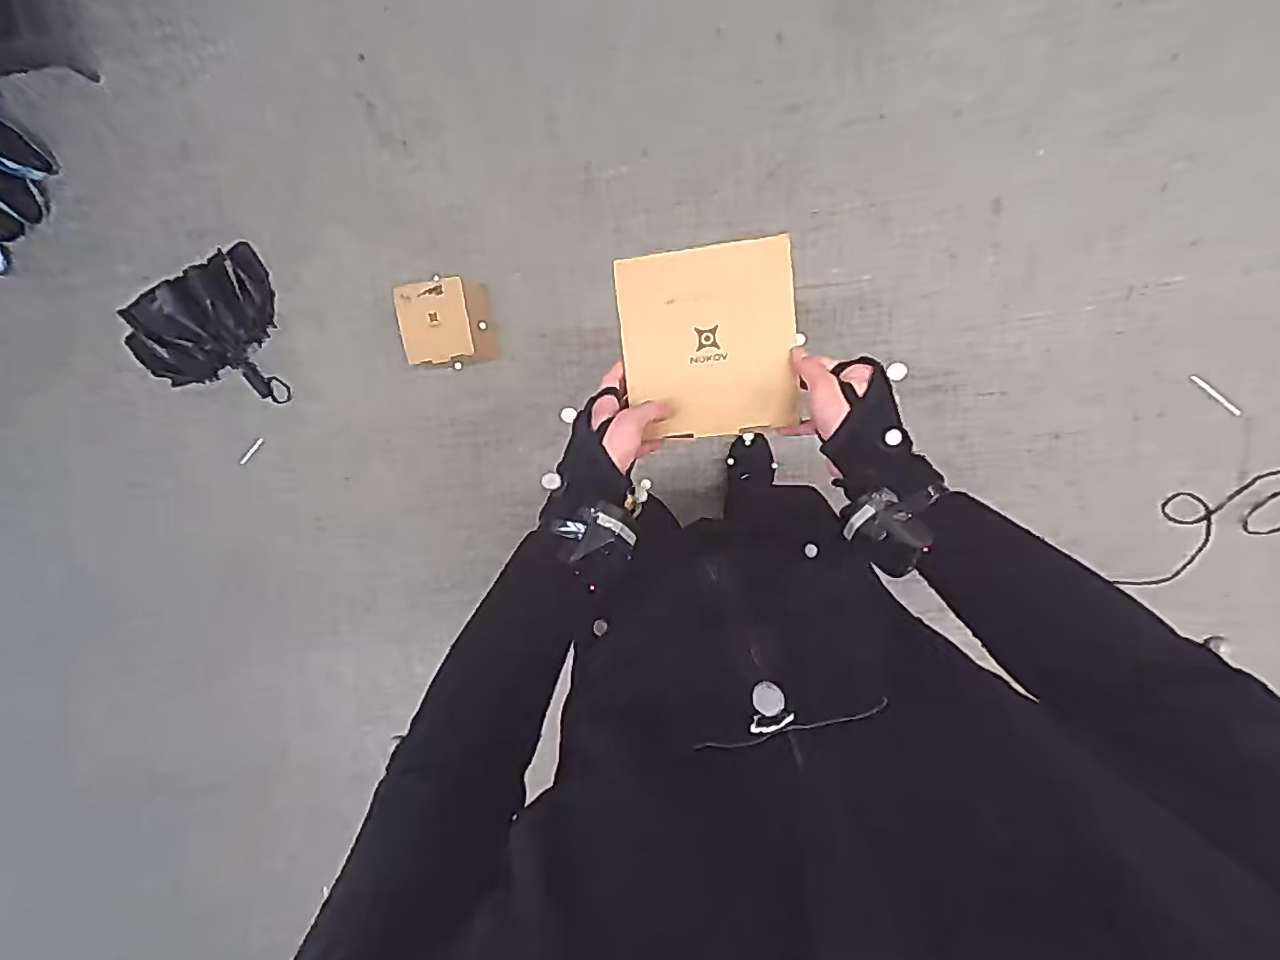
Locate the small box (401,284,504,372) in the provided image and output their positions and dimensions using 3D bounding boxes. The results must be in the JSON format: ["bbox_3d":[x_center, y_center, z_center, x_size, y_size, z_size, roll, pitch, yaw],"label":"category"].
[{"bbox_3d":[-0.449,-0.364,1.322,0.168,0.176,0.179,-8,98,7],"label":"small box"}]
